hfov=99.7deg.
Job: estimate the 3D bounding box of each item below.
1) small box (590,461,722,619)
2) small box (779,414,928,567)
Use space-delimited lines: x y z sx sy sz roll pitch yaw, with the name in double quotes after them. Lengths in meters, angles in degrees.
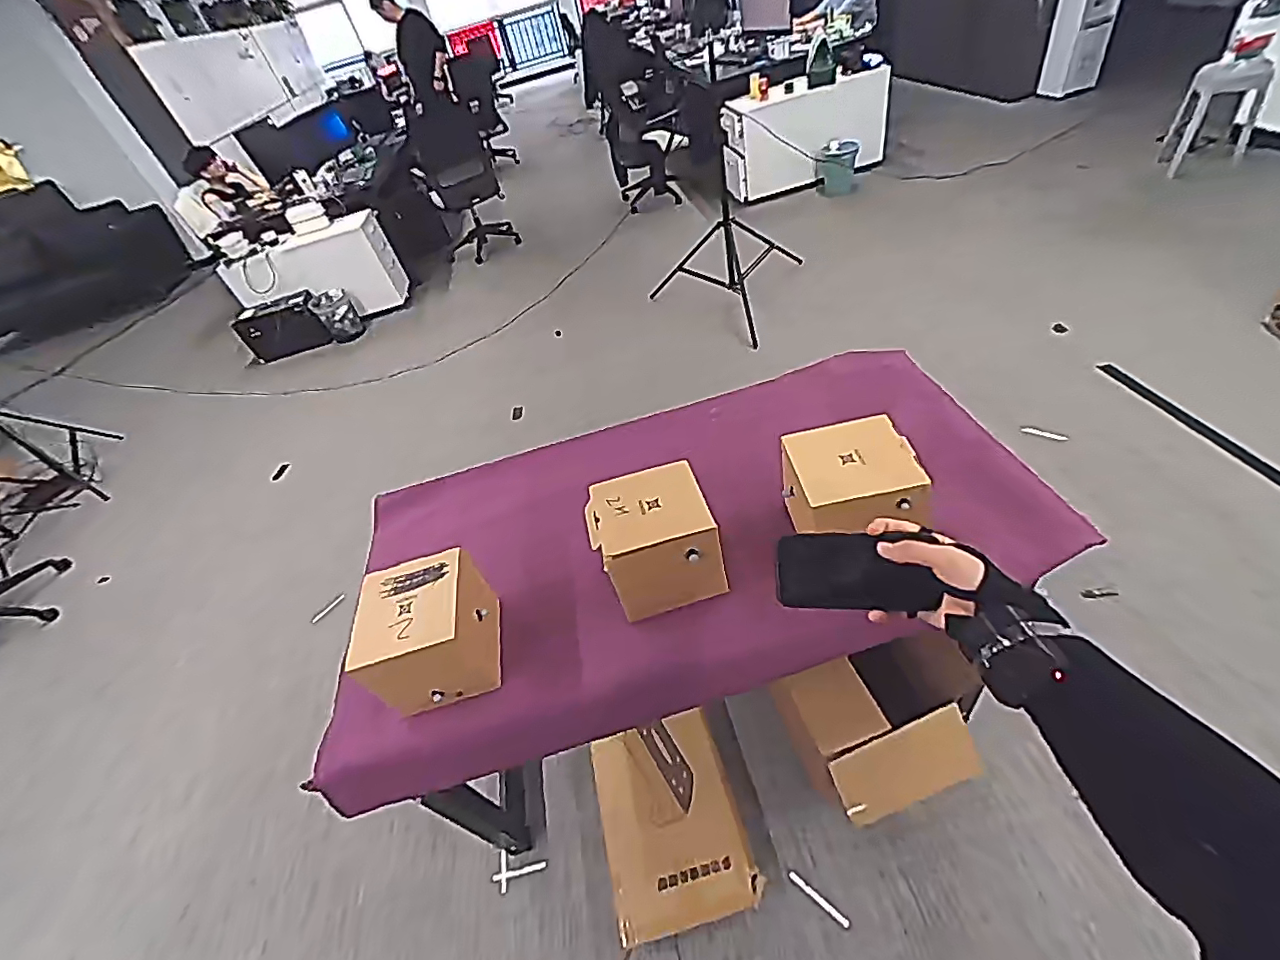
0.030 0.102 0.899 0.179 0.176 0.168 -18 41 -1 "small box"
0.339 0.022 0.885 0.179 0.176 0.168 -13 44 5 "small box"
